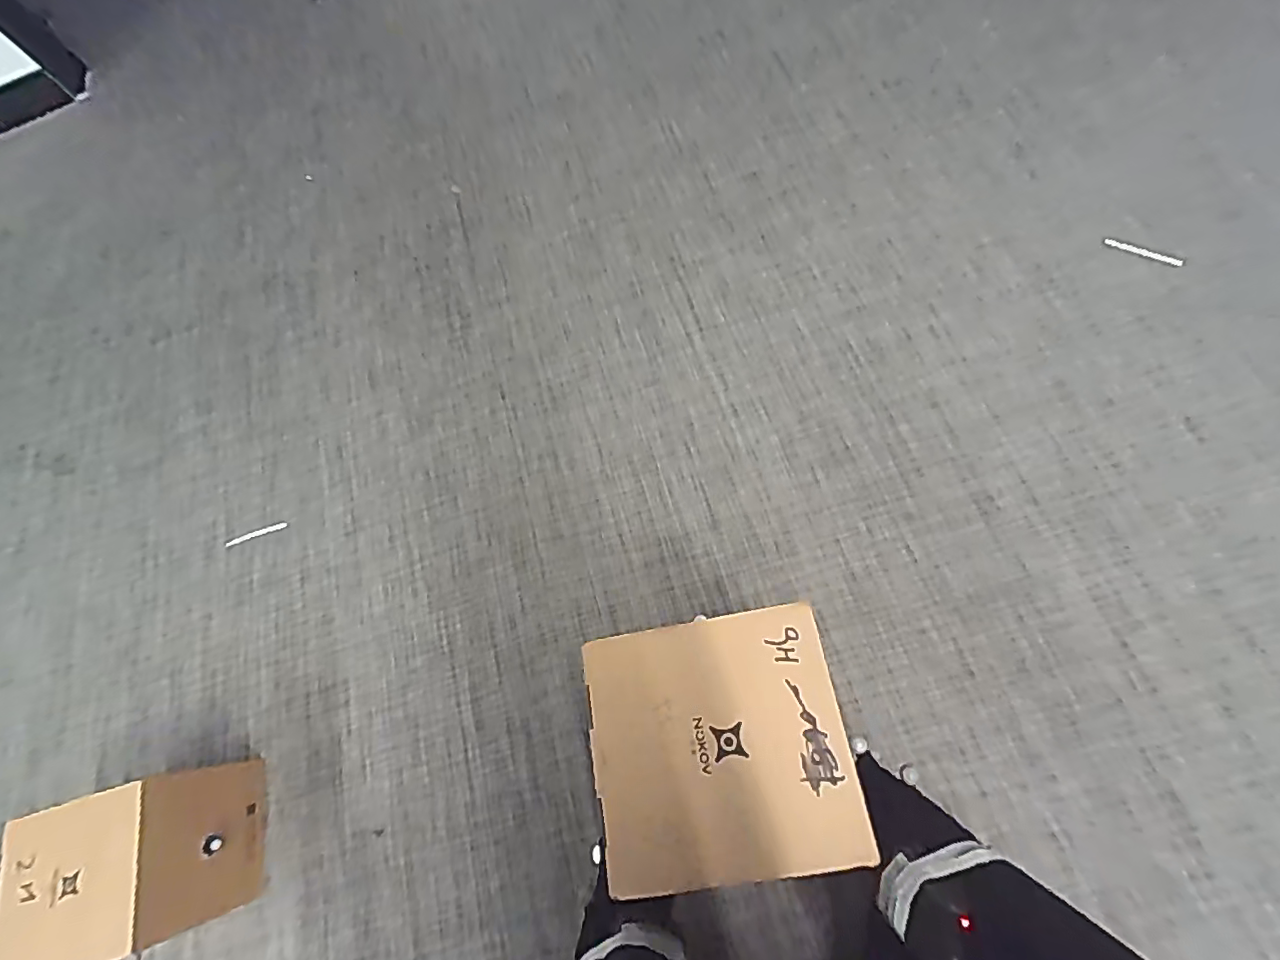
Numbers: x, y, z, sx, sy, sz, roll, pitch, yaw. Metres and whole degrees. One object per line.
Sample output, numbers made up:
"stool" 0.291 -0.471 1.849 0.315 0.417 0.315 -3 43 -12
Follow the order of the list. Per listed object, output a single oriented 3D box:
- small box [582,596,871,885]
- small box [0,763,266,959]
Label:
"small box" 0.066 0.204 0.450 0.179 0.176 0.168 -13 69 6
"small box" -0.592 0.460 0.655 0.179 0.176 0.168 -18 67 3
